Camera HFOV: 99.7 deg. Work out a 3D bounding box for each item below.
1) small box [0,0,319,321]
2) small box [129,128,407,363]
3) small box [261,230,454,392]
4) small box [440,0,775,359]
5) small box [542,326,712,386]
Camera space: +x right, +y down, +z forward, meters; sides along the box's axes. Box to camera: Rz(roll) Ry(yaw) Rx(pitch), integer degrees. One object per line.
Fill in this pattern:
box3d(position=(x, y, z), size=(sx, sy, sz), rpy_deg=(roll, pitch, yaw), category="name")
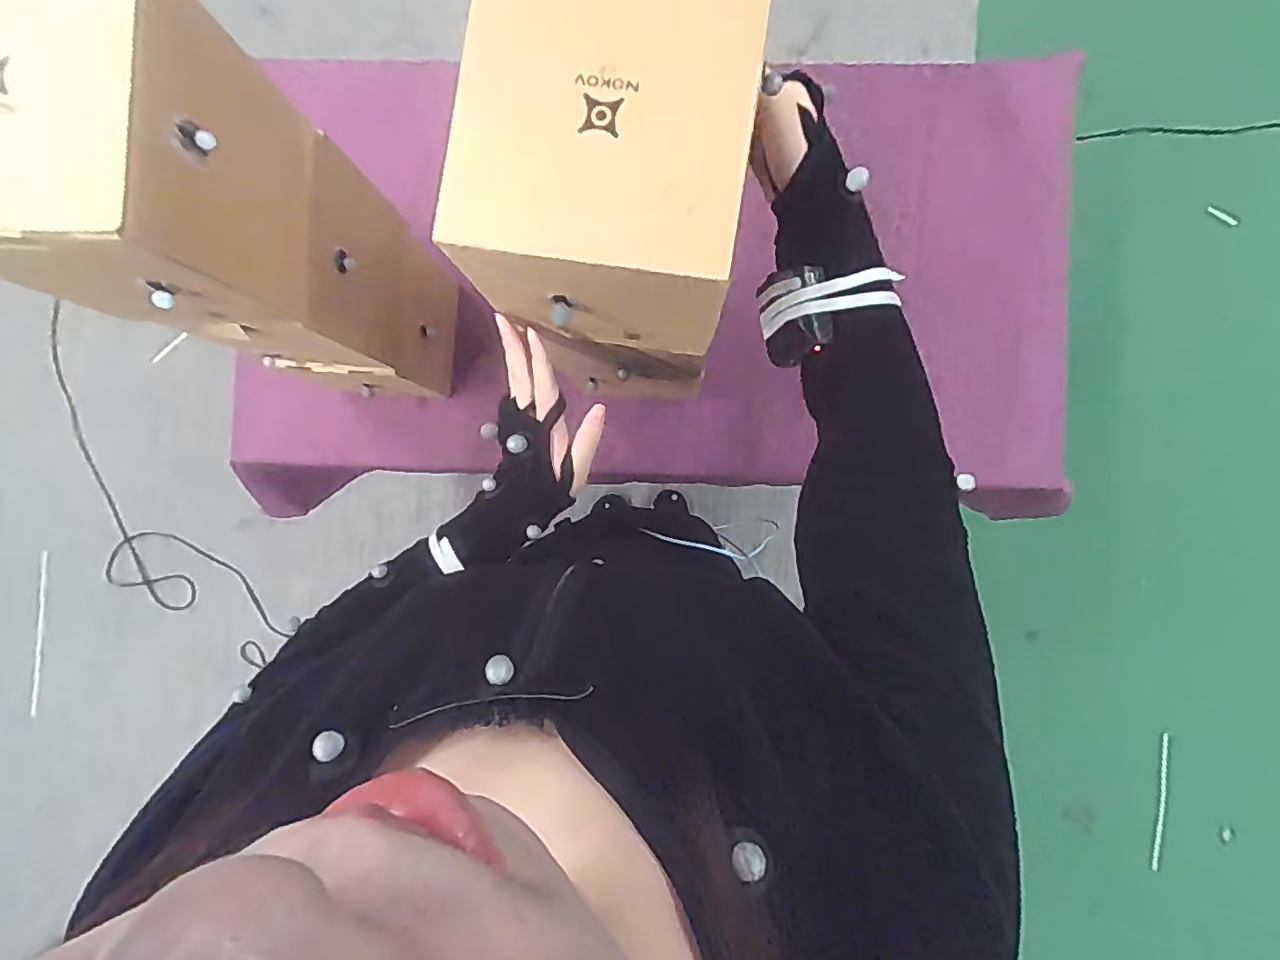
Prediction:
box3d(position=(-0.362, -0.225, 0.388), size=(0.168, 0.176, 0.179), rpy_deg=(4, 89, 0), category="small box")
box3d(position=(-0.359, -0.226, 0.551), size=(0.168, 0.176, 0.179), rpy_deg=(6, 89, 1), category="small box")
box3d(position=(-0.359, -0.218, 0.716), size=(0.168, 0.176, 0.179), rpy_deg=(5, 90, 0), category="small box")
box3d(position=(-0.016, -0.196, 0.380), size=(0.168, 0.176, 0.179), rpy_deg=(10, 89, 1), category="small box")
box3d(position=(-0.009, -0.205, 0.543), size=(0.168, 0.176, 0.179), rpy_deg=(7, 90, 2), category="small box")
